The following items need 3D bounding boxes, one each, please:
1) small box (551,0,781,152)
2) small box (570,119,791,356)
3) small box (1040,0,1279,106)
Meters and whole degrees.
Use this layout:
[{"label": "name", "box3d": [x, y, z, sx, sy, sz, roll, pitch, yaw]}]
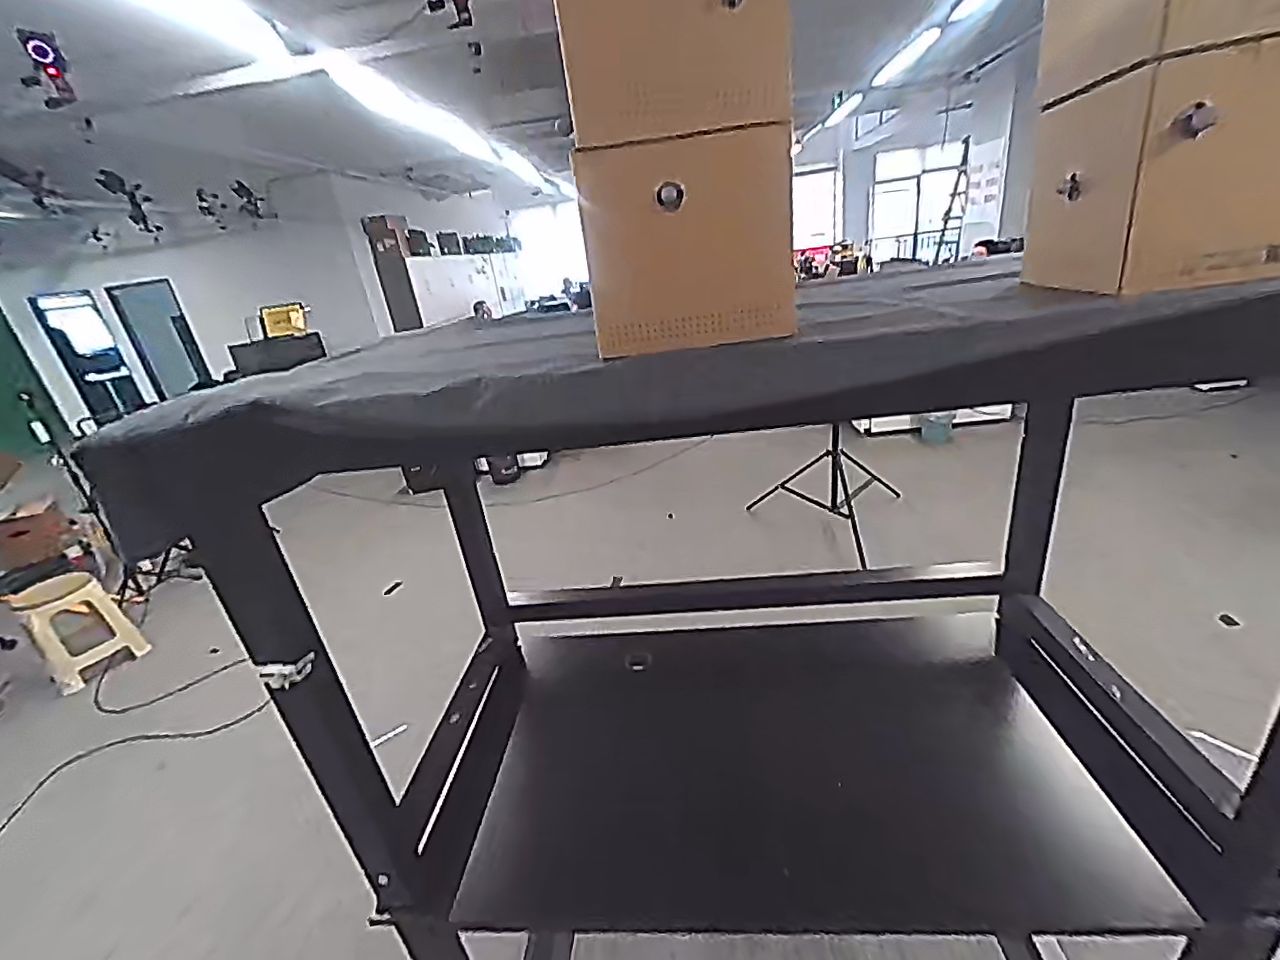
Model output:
[{"label": "small box", "box3d": [0.020, -0.374, 0.477, 0.179, 0.176, 0.168, -9, 20, 0]}, {"label": "small box", "box3d": [0.042, -0.221, 0.527, 0.179, 0.176, 0.168, -6, 21, 4]}, {"label": "small box", "box3d": [0.446, -0.416, 0.418, 0.168, 0.176, 0.179, -5, 22, 11]}]
